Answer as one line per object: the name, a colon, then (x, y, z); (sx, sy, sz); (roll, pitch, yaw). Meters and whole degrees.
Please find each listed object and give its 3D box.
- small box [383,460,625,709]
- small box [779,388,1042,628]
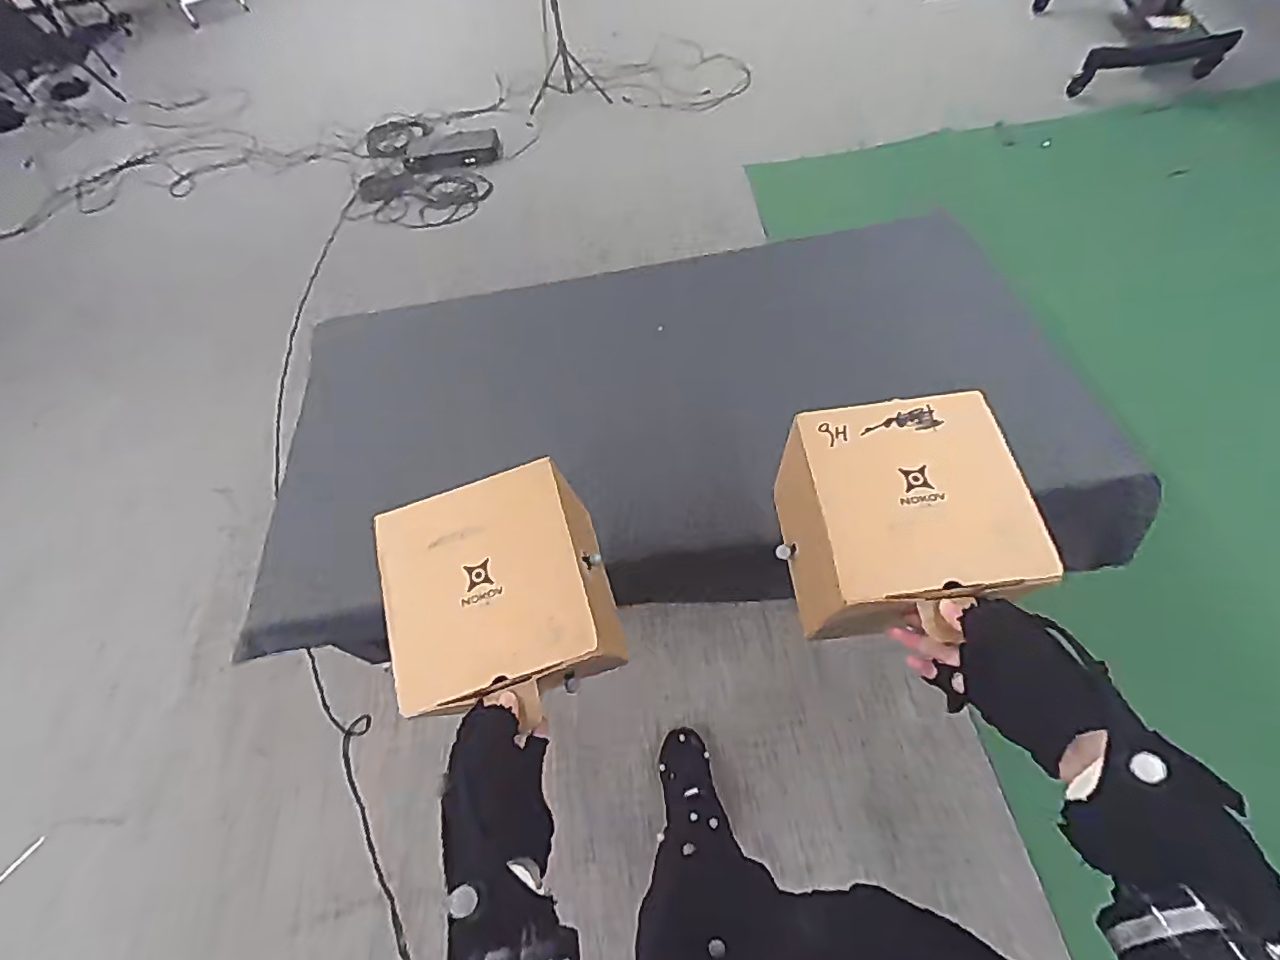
small box: (-0.123, 0.110, 0.537); (0.168, 0.176, 0.179); (-20, 67, 0)
small box: (0.236, 0.040, 0.529); (0.168, 0.176, 0.179); (-10, 63, 7)
